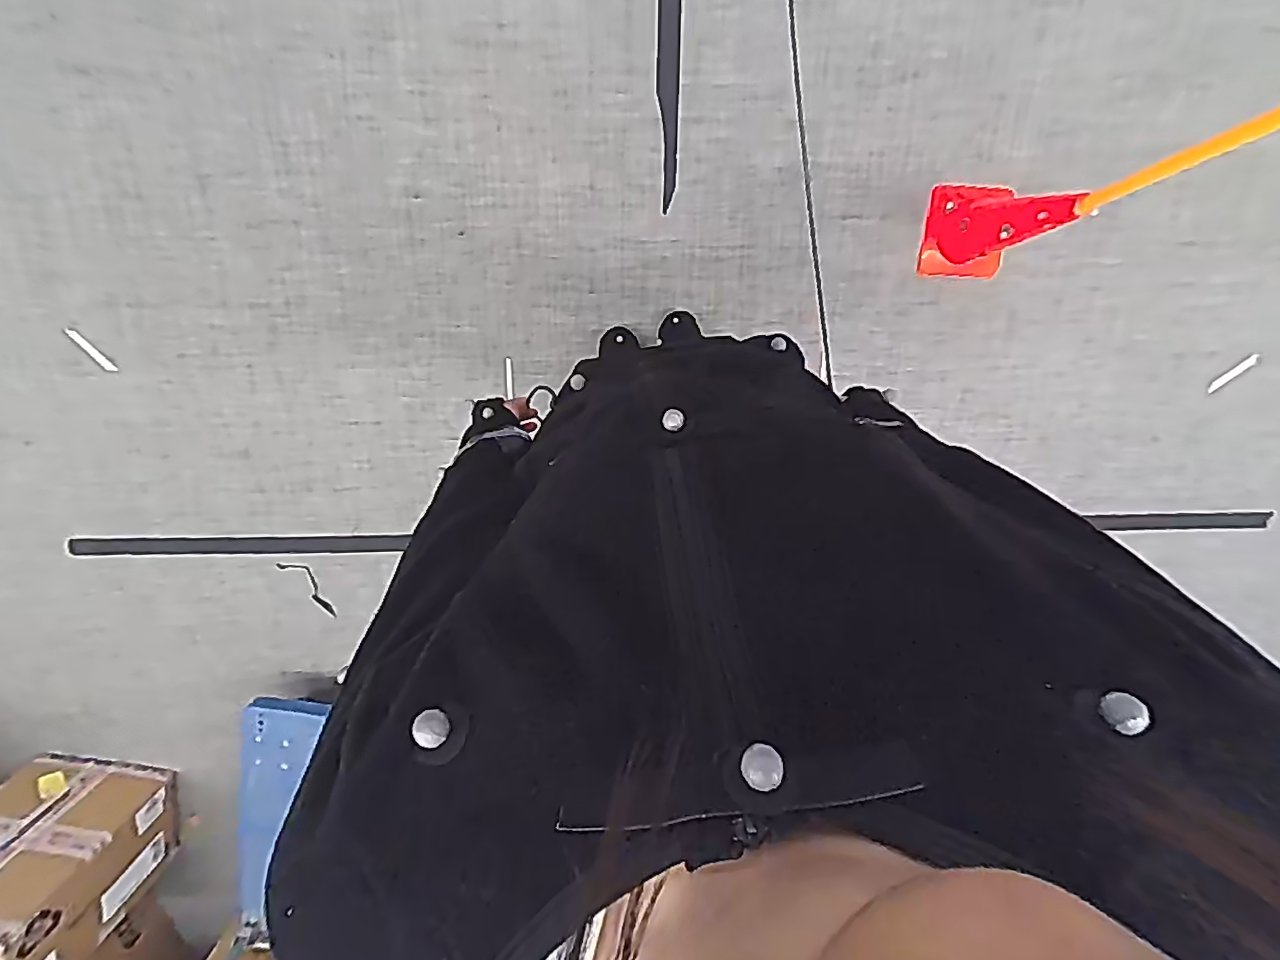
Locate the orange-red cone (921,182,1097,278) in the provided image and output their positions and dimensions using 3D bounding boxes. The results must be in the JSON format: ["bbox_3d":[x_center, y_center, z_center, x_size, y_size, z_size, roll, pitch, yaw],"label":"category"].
[{"bbox_3d":[0.778,-0.536,1.112,0.198,0.360,0.199,3,108,-2],"label":"orange-red cone"}]
